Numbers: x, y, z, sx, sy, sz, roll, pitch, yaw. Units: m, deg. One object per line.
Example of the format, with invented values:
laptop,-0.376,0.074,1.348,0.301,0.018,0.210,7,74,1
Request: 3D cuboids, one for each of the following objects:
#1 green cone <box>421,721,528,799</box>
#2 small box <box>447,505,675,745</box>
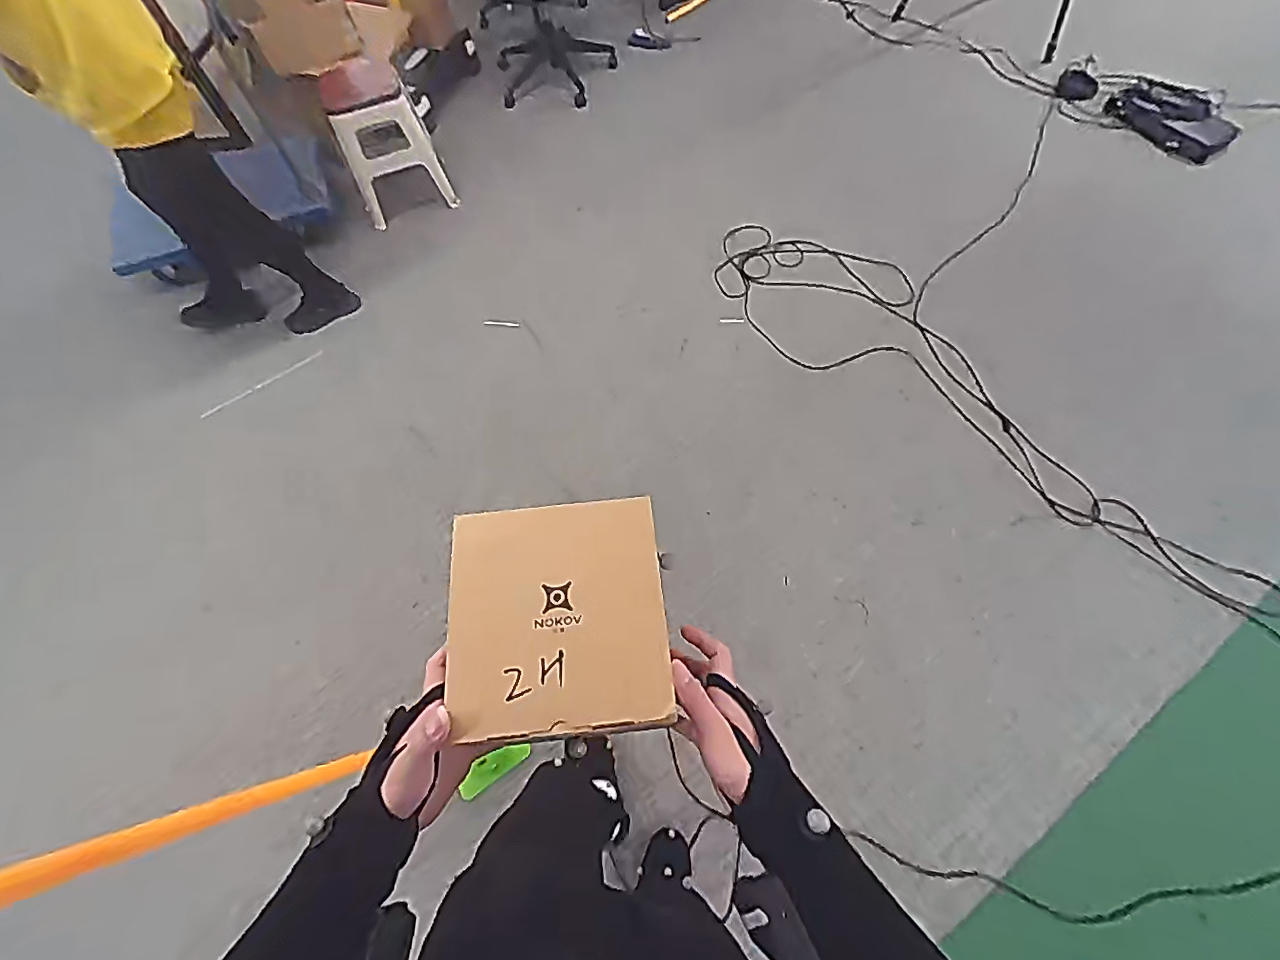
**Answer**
green cone,-0.427,0.614,1.269,0.202,0.368,0.200,-33,66,-13
small box,-0.062,0.139,0.494,0.168,0.176,0.179,-5,64,-1
